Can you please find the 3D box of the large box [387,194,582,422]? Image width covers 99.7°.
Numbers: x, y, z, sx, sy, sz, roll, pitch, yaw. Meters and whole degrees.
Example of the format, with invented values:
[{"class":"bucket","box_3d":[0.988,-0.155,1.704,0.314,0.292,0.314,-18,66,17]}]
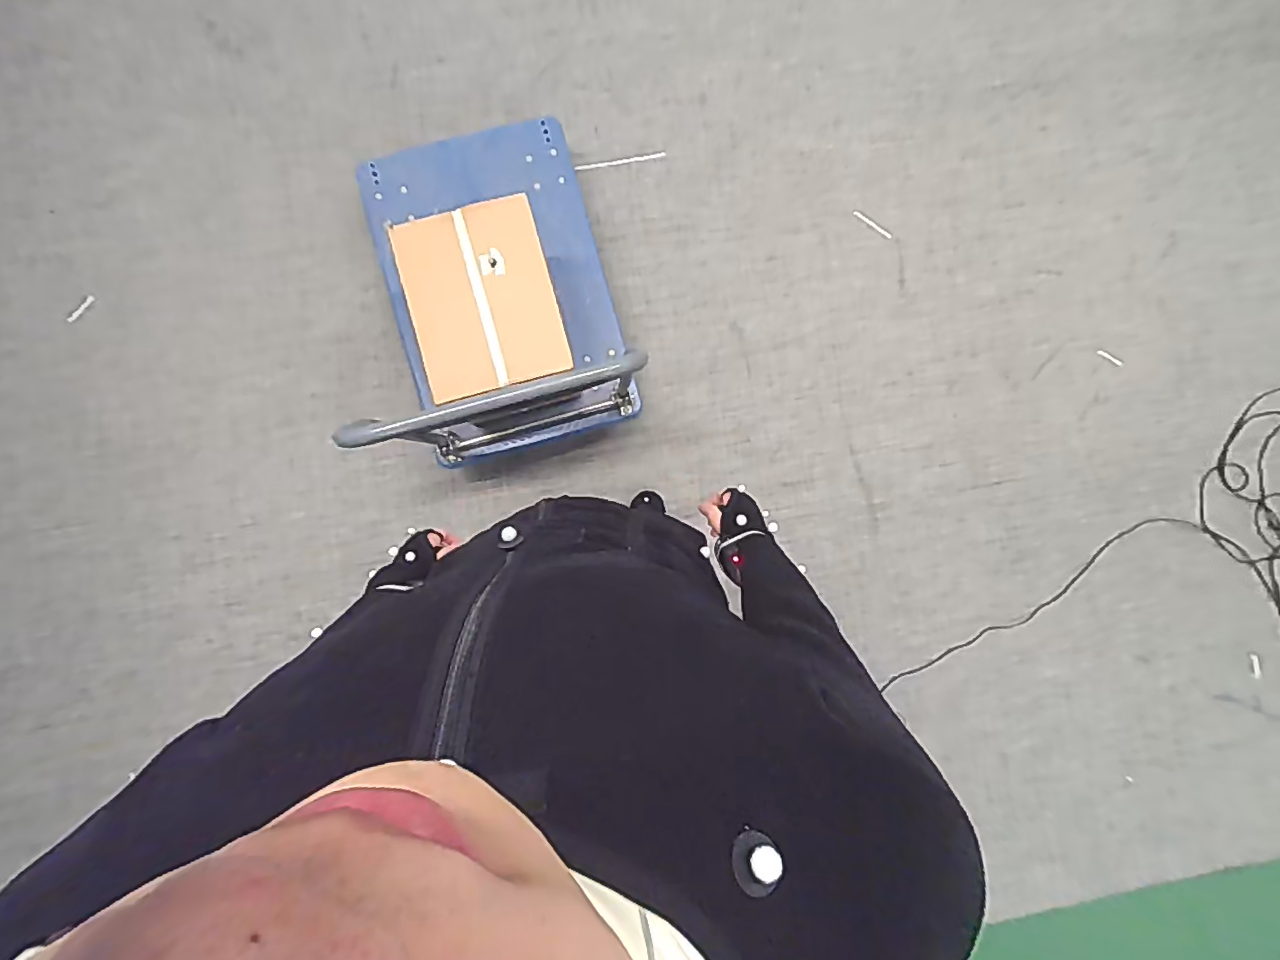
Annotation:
[{"class":"large box","box_3d":[-0.351,-0.391,1.319,0.320,0.320,0.408,-16,88,-4]}]
